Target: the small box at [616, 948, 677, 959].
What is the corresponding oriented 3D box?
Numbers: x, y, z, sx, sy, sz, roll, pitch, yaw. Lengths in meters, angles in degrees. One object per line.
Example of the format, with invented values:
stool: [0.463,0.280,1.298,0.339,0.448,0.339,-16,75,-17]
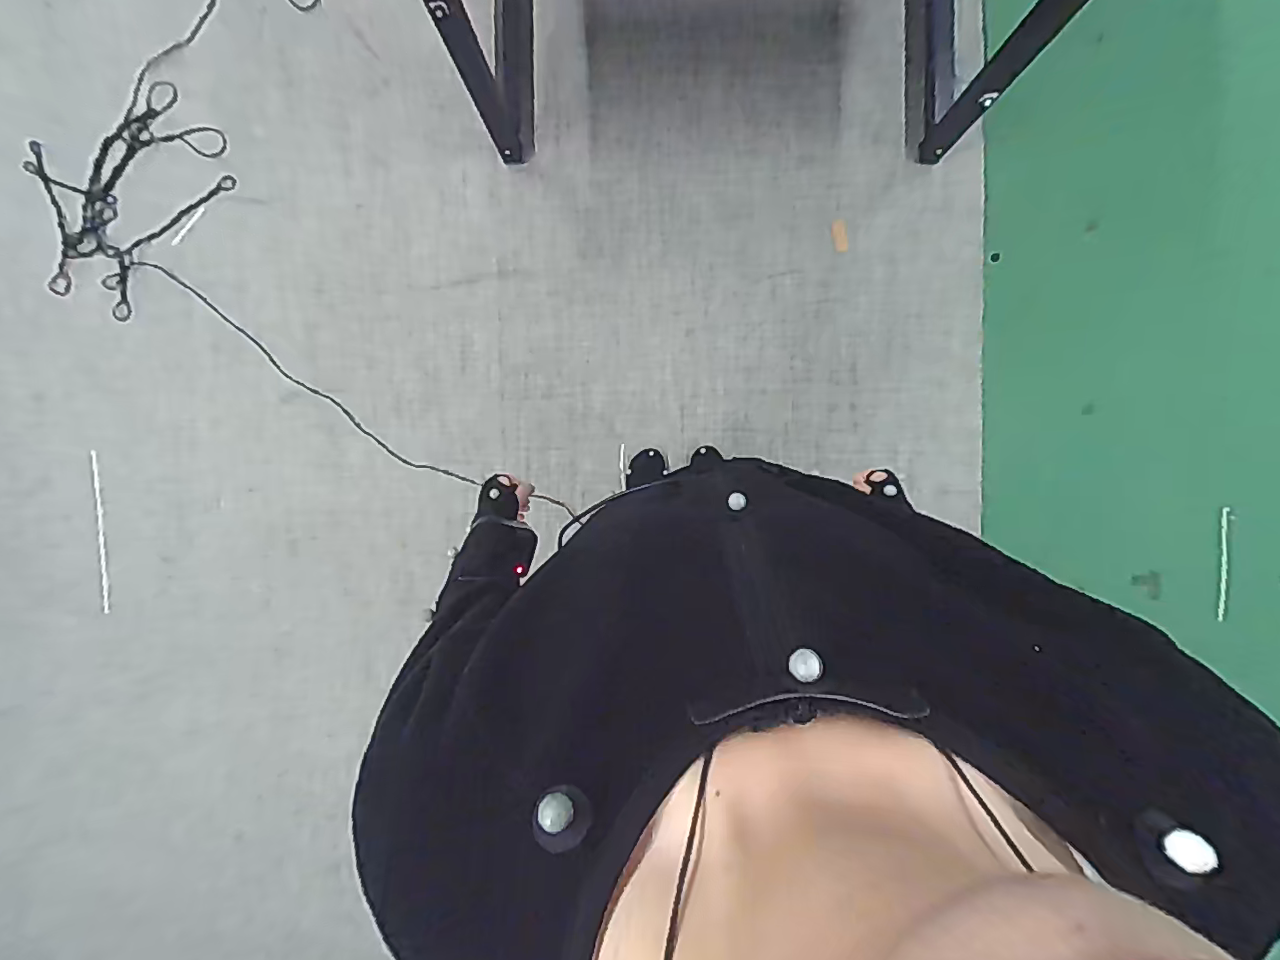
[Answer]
small box: [0.015,1.418,1.462,0.179,0.176,0.168,3,91,2]
